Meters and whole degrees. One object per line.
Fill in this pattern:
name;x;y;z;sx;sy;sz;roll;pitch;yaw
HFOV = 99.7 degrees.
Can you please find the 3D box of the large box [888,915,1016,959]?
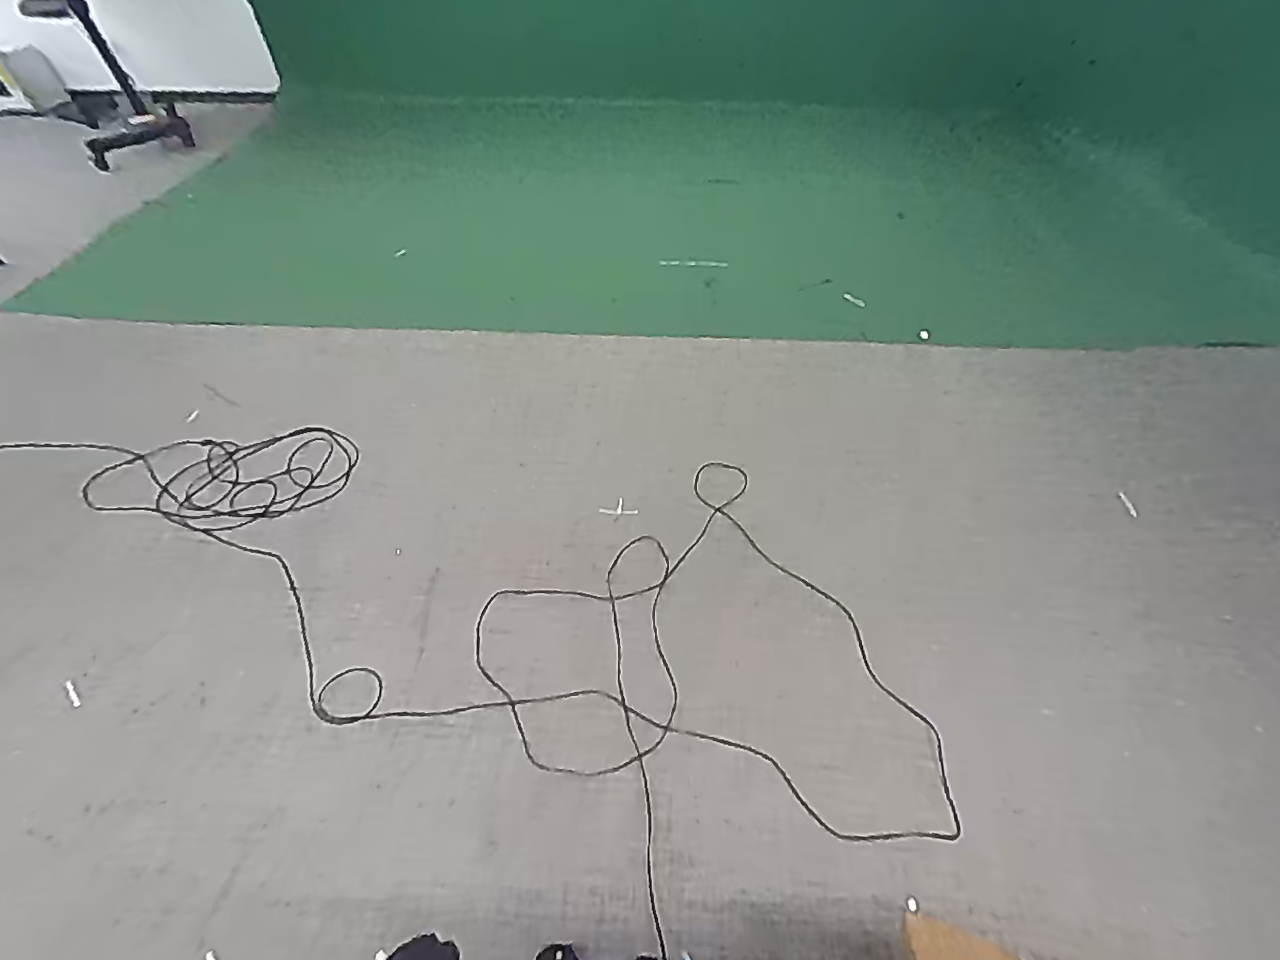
large box;0.433;0.801;0.562;0.320;0.408;0.320;14;88;17
